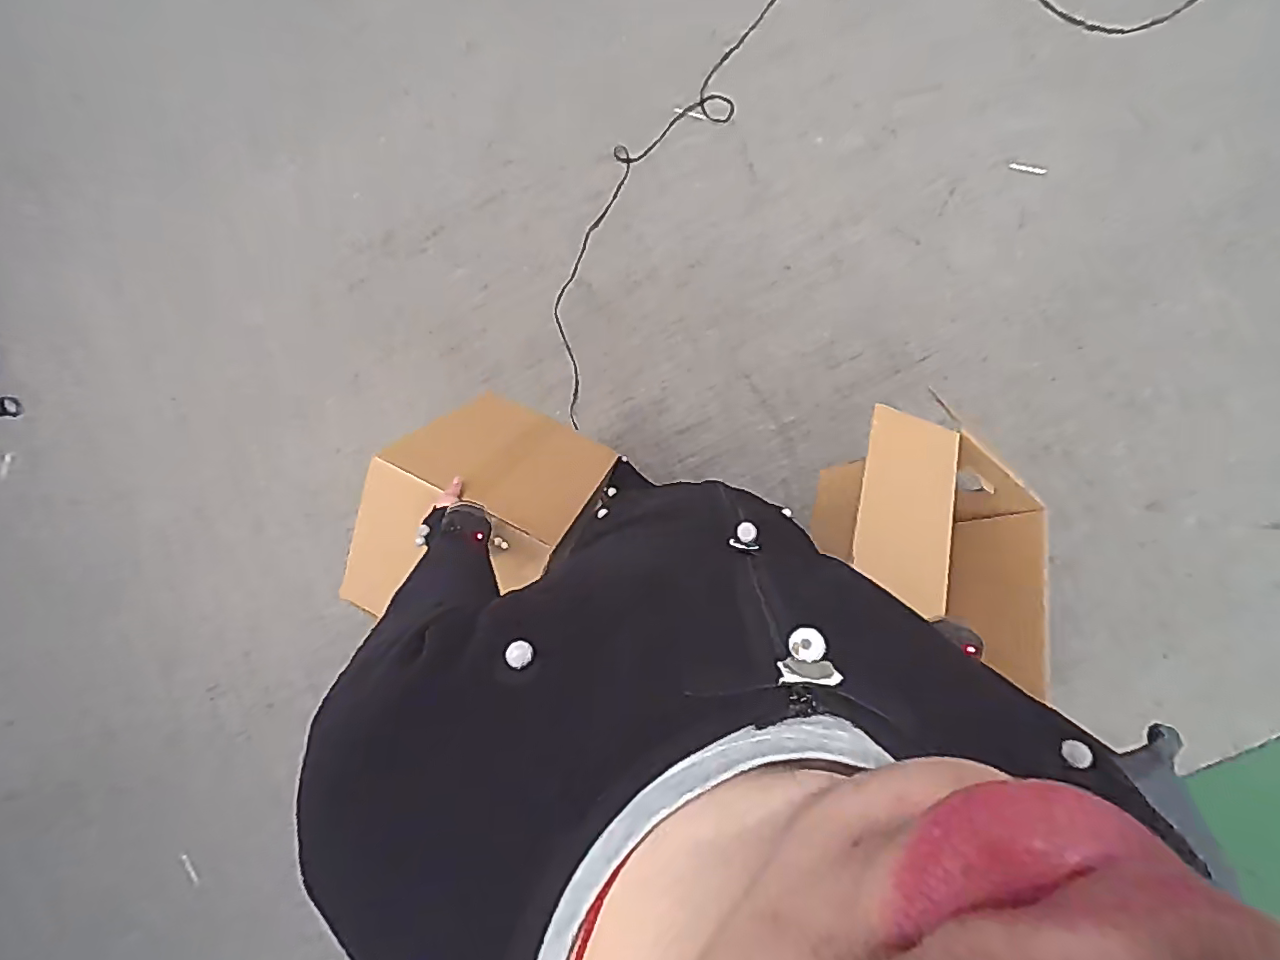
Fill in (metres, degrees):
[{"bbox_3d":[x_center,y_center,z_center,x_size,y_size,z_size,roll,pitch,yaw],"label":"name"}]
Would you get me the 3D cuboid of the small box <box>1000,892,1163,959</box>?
[{"bbox_3d":[0.650,0.719,0.743,0.168,0.176,0.179,-35,92,8],"label":"small box"}]
